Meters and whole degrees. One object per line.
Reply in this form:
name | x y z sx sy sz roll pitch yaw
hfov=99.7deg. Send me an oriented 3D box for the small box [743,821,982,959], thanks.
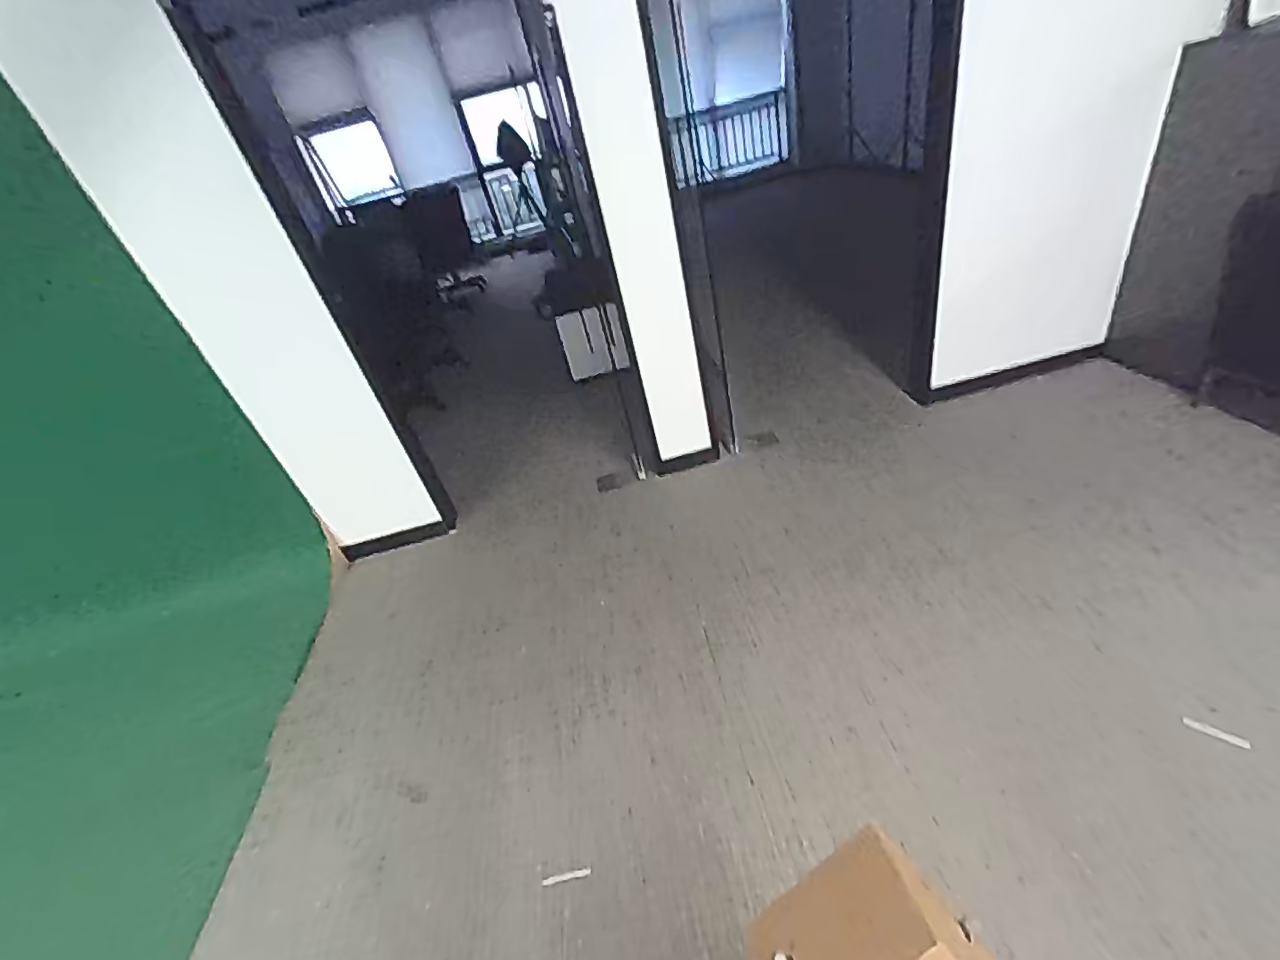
small box | 0.201 0.446 0.457 0.179 0.168 0.176 -42 -8 3
